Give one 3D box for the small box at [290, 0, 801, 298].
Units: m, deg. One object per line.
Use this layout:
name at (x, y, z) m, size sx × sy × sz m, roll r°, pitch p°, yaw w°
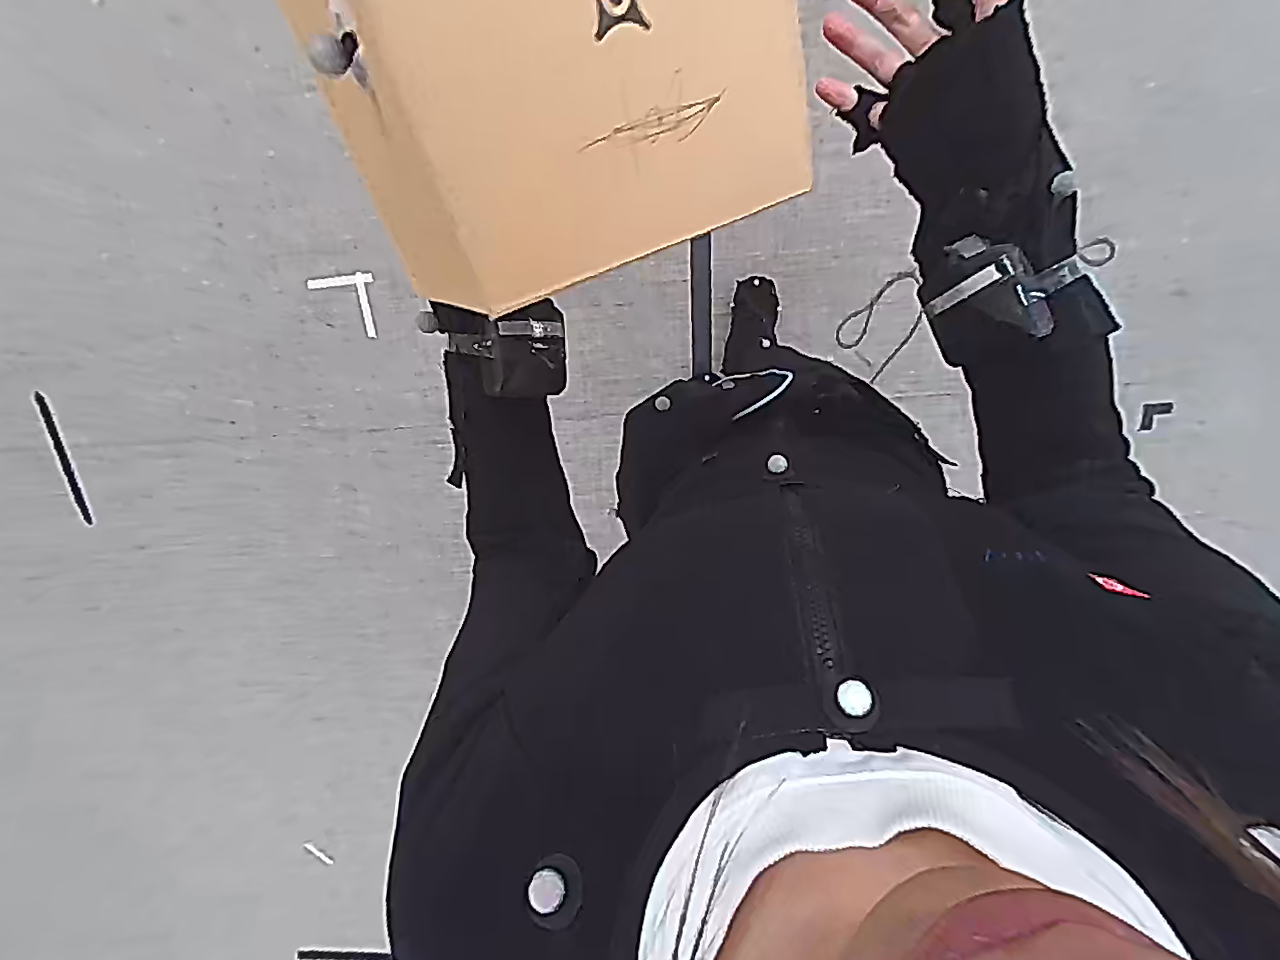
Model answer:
small box at (-0.051, -0.200, 0.259) m, size 0.168 × 0.176 × 0.179 m, roll -29°, pitch 122°, yaw -20°
